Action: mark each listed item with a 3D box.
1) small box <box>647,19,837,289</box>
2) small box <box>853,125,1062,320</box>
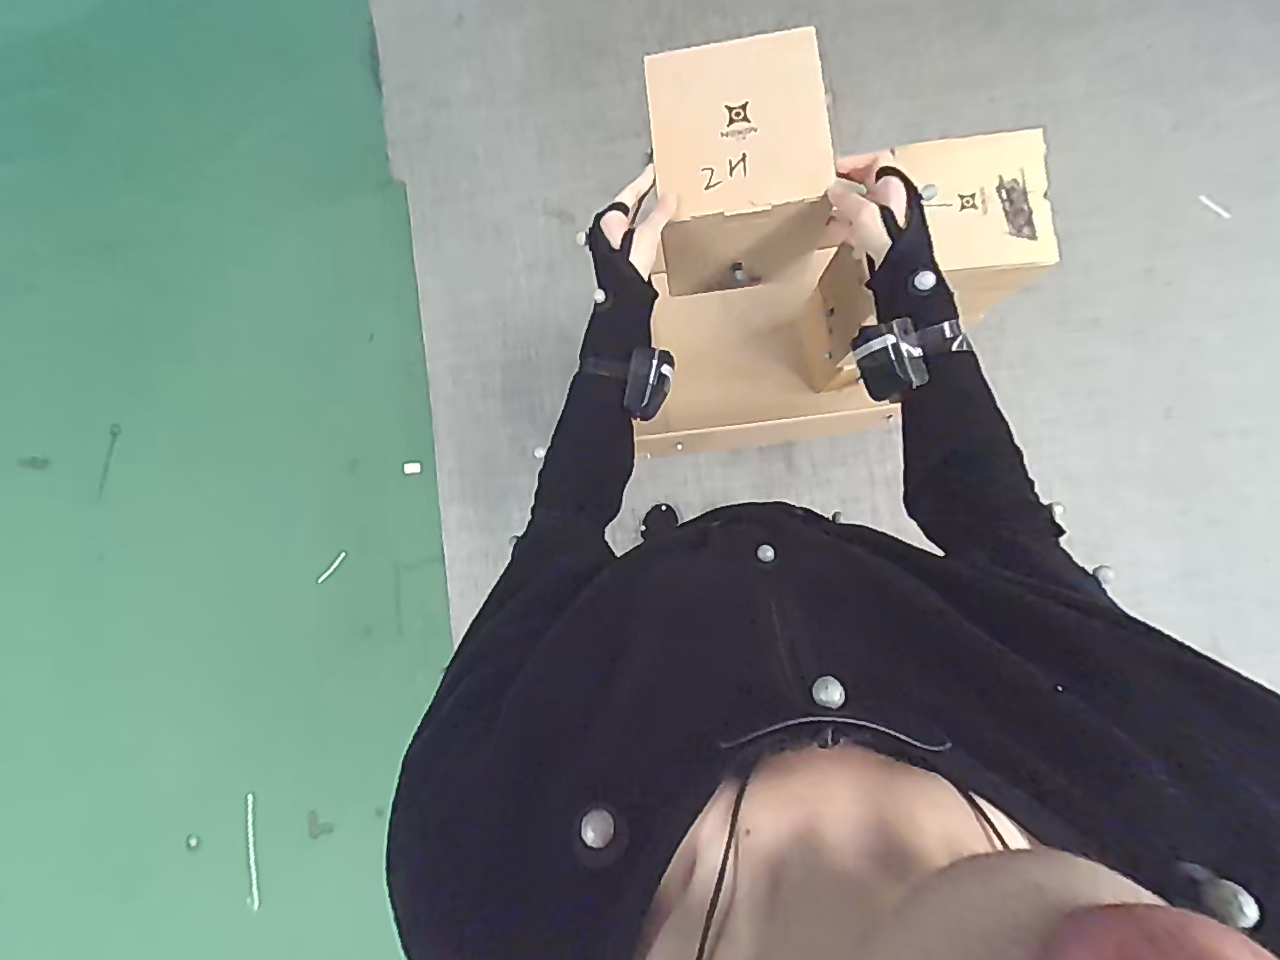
[{"bbox_3d":[0.100,-0.332,0.582,0.168,0.176,0.179,-5,85,6],"label":"small box"},{"bbox_3d":[0.400,-0.323,0.711,0.179,0.176,0.168,-4,85,5],"label":"small box"}]
